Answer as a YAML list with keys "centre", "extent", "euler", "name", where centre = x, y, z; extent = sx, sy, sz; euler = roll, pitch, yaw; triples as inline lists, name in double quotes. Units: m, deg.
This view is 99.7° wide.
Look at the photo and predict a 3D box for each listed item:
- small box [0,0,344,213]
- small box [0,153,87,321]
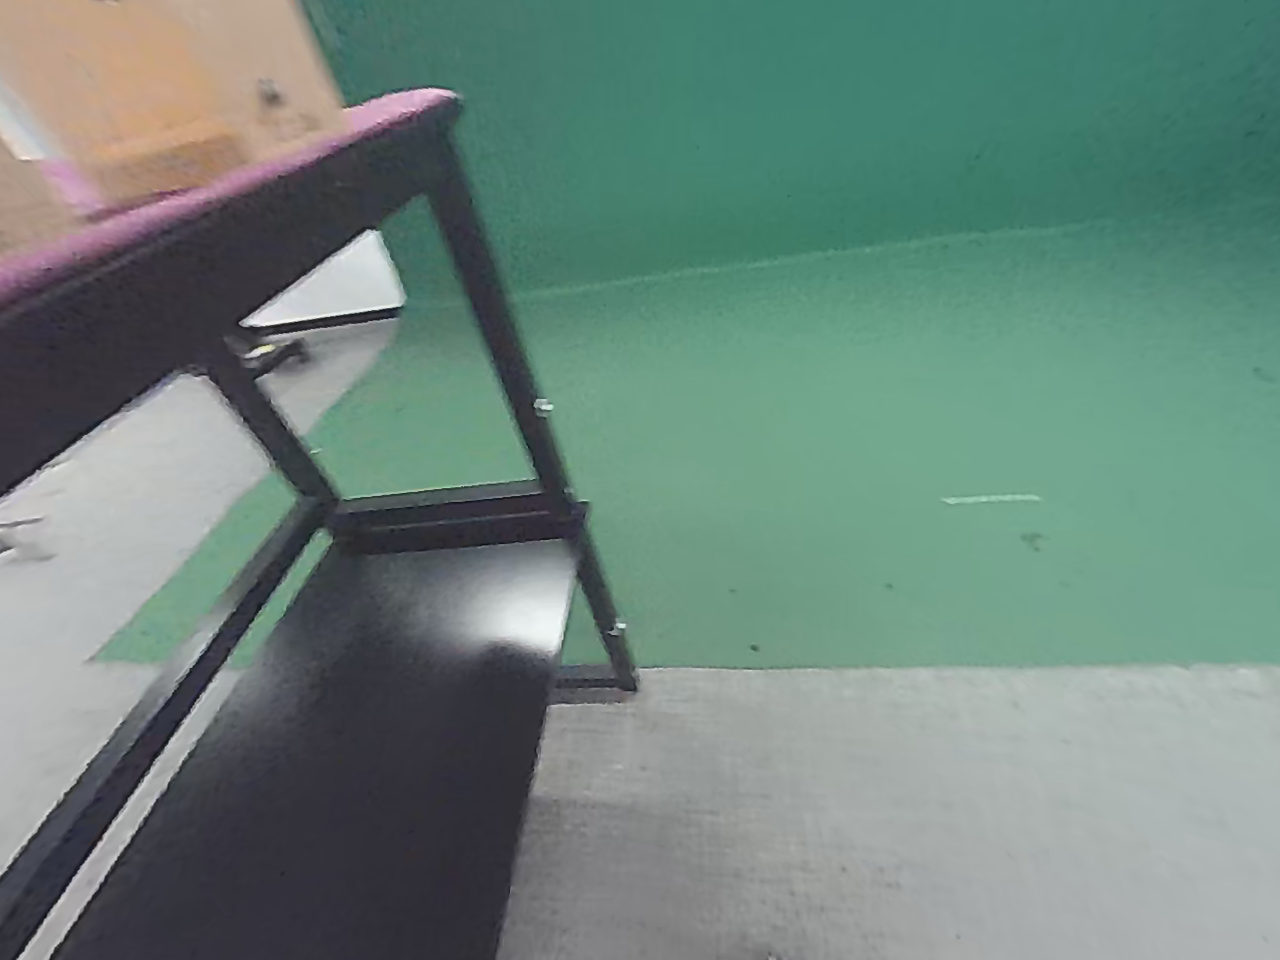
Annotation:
- centre: [-0.420, -0.358, 0.490]
  extent: [0.179, 0.176, 0.168]
  euler: [-2, 43, 10]
  name: "small box"
- centre: [-0.440, -0.131, 0.240]
  extent: [0.179, 0.176, 0.168]
  euler: [-3, 42, 10]
  name: "small box"
